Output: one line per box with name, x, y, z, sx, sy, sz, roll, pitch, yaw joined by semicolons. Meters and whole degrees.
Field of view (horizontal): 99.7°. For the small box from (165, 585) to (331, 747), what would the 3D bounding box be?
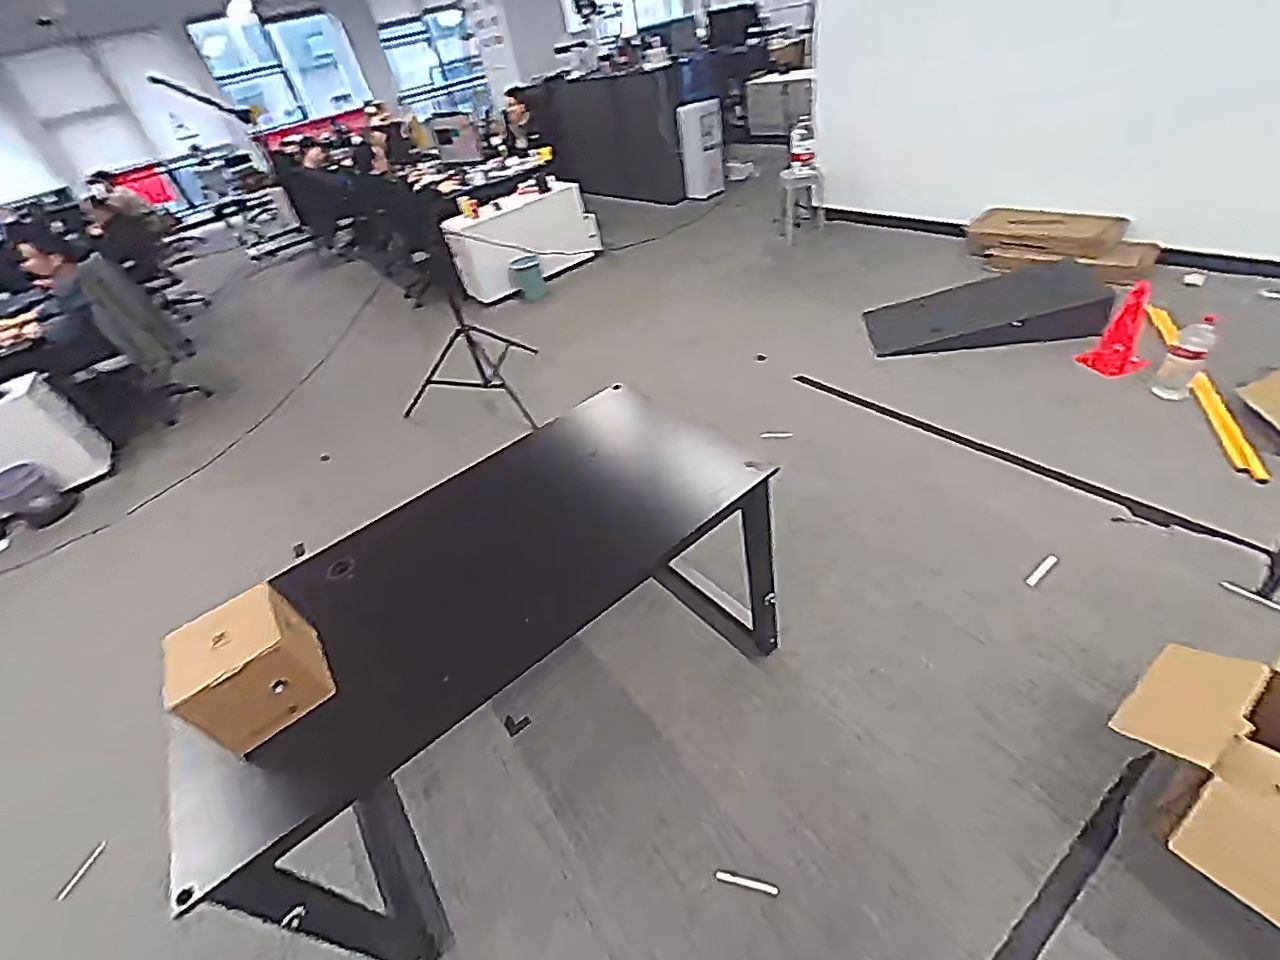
small box;-0.665;0.323;0.927;0.168;0.176;0.179;-33;43;-23
